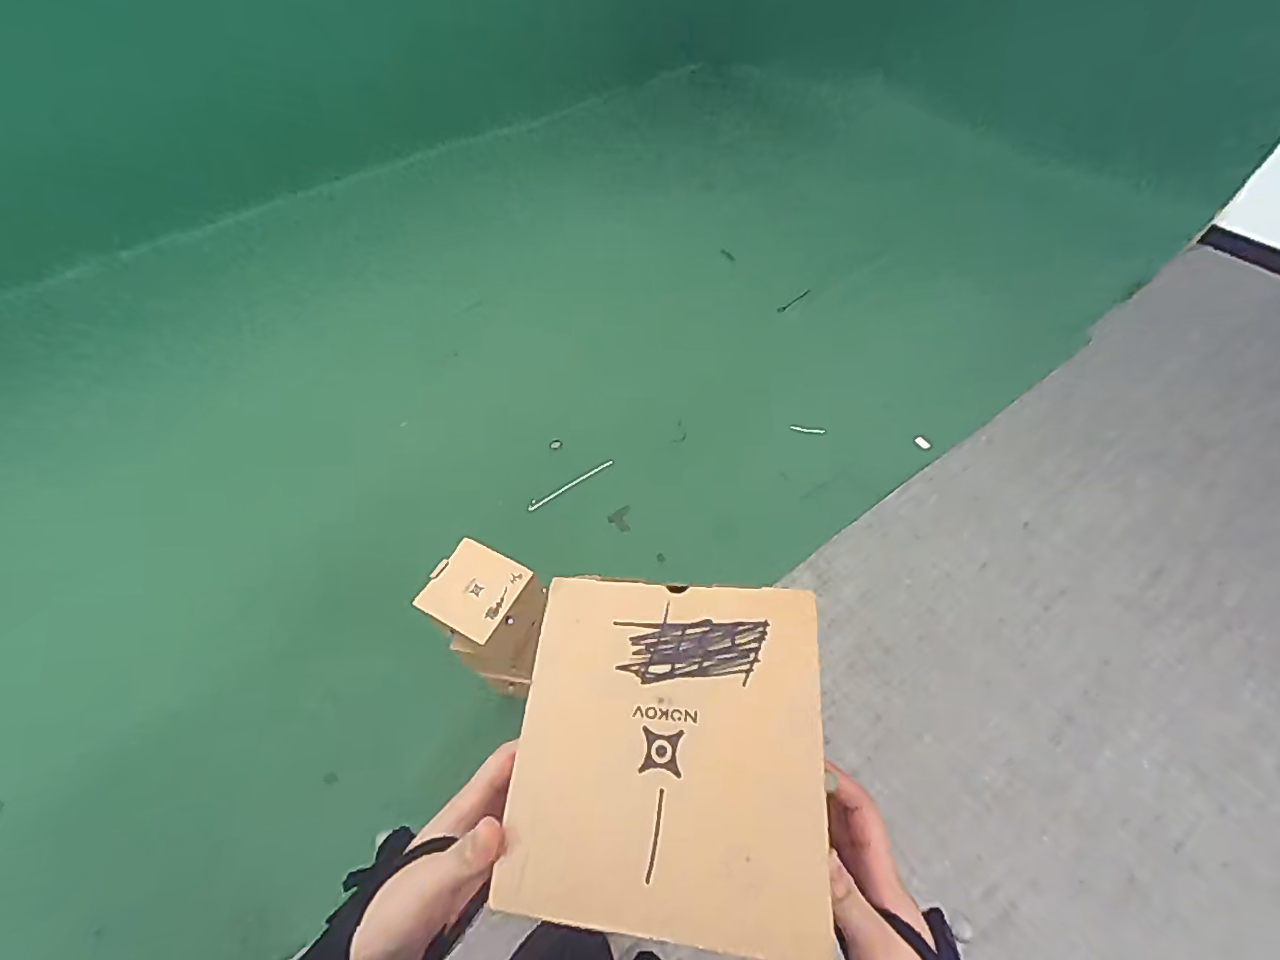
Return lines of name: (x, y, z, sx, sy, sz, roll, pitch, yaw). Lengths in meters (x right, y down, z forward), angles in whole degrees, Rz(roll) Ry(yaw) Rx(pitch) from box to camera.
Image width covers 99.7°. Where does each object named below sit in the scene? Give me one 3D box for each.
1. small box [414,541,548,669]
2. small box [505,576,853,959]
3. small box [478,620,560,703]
small box: (-0.311, 0.258, 1.097, 0.179, 0.176, 0.168, 23, 60, 18)
small box: (0.036, 0.180, 0.357, 0.168, 0.176, 0.179, 0, 58, 12)
small box: (-0.278, 0.453, 1.360, 0.179, 0.176, 0.168, 6, 56, 8)
